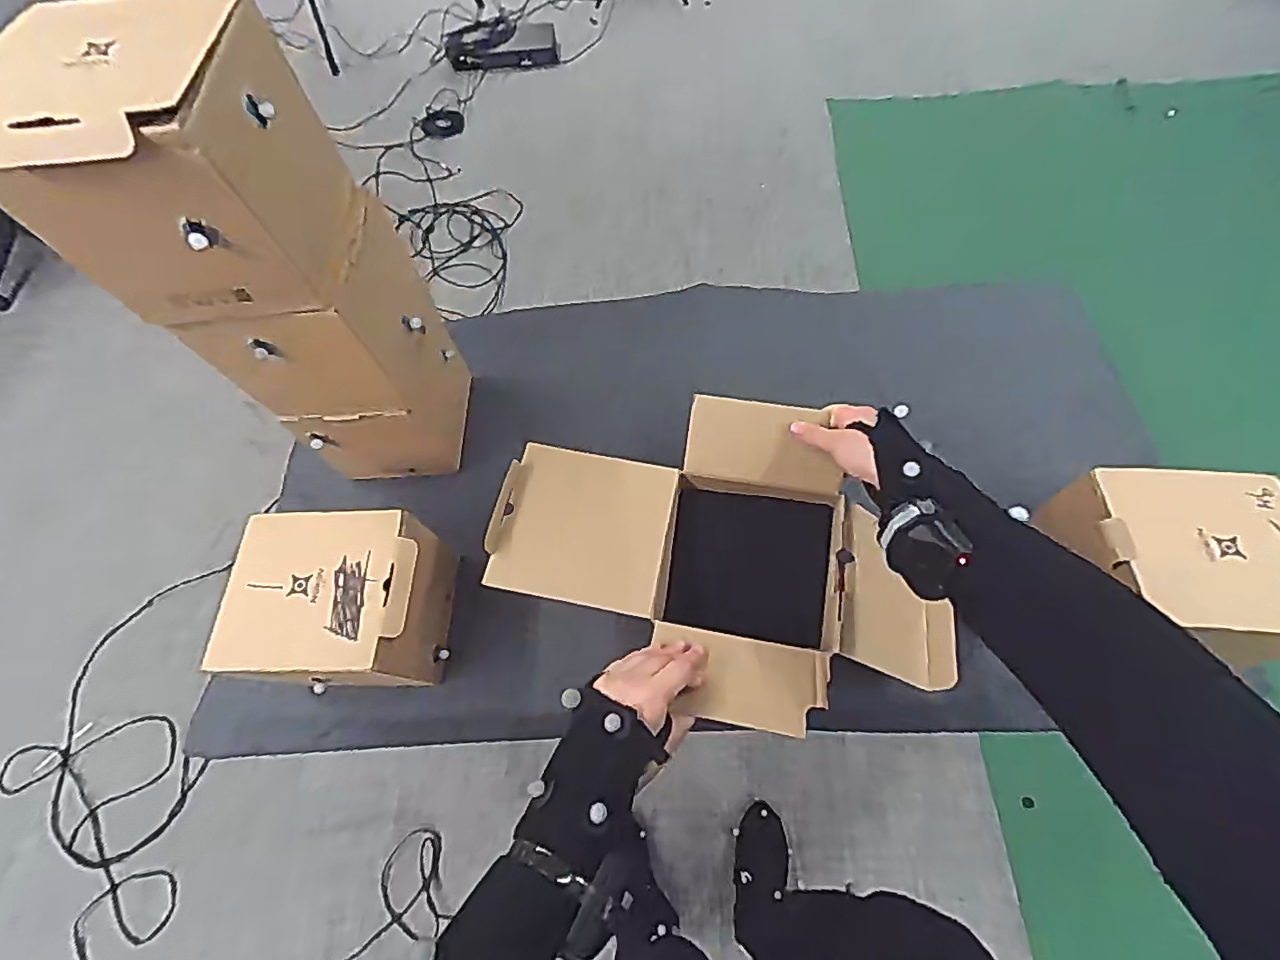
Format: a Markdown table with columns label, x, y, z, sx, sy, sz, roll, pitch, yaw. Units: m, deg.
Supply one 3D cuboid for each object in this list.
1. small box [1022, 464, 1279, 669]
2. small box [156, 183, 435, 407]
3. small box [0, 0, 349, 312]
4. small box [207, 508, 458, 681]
| label | x | y | z | sx | sy | sz | roll | pitch | yaw |
| --- | --- | --- | --- | --- | --- | --- | --- | --- | --- |
| small box | 0.545 | 0.097 | 0.573 | 0.179 | 0.176 | 0.168 | 3 | 61 | 6 |
| small box | -0.352 | -0.191 | 0.594 | 0.179 | 0.176 | 0.168 | -2 | 66 | 3 |
| small box | -0.370 | -0.257 | 0.447 | 0.168 | 0.176 | 0.179 | -5 | 64 | 0 |
| small box | -0.329 | 0.138 | 0.624 | 0.179 | 0.176 | 0.168 | -1 | 66 | 4 |
